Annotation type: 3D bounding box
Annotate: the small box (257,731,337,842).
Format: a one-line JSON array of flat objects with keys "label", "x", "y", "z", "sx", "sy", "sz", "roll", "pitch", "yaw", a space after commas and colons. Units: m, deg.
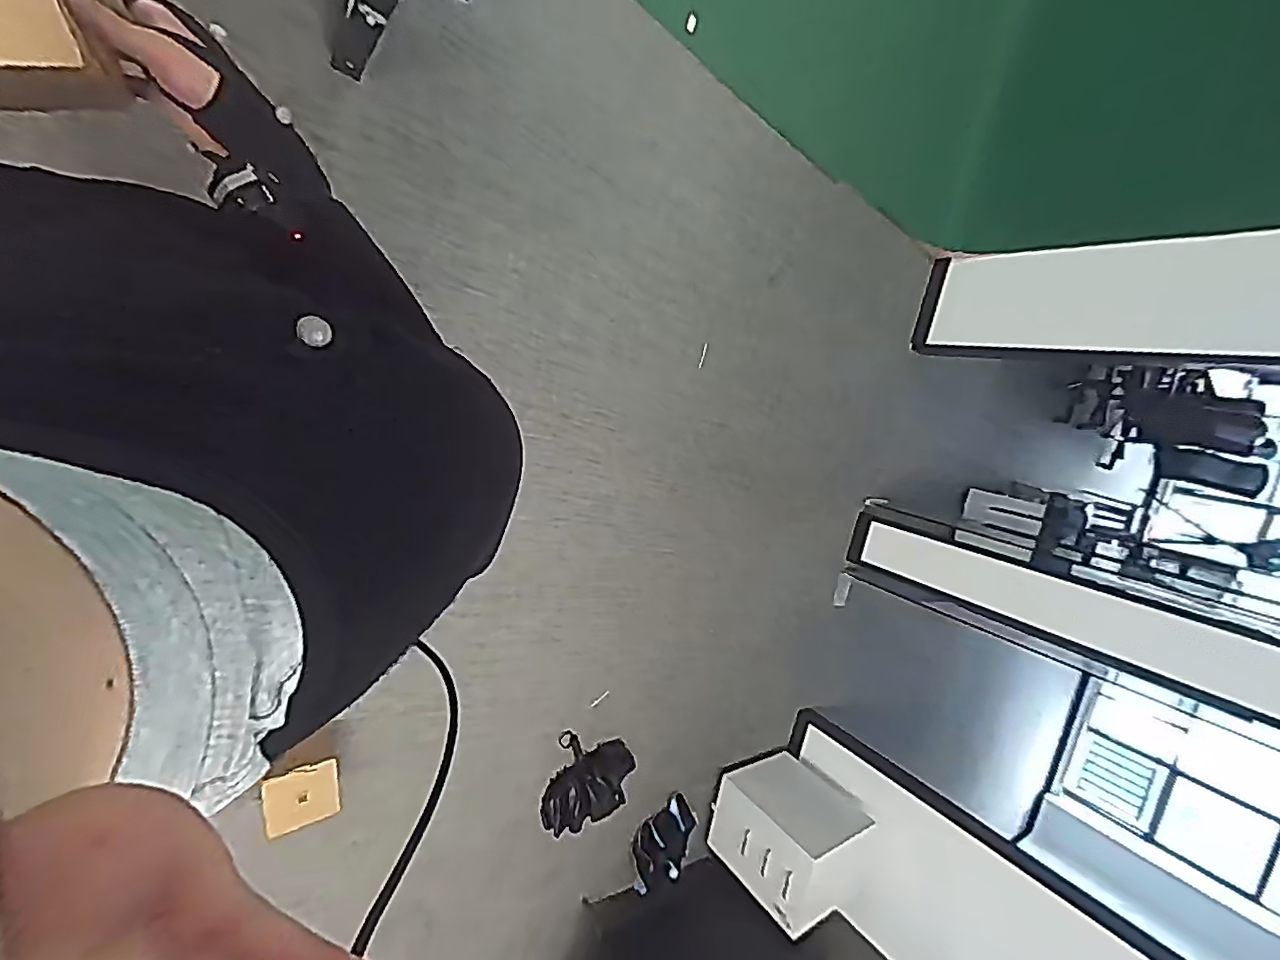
[{"label": "small box", "x": -0.925, "y": 0.809, "z": 1.457, "sx": 0.168, "sy": 0.176, "sz": 0.179, "roll": -7, "pitch": 109, "yaw": -34}]
